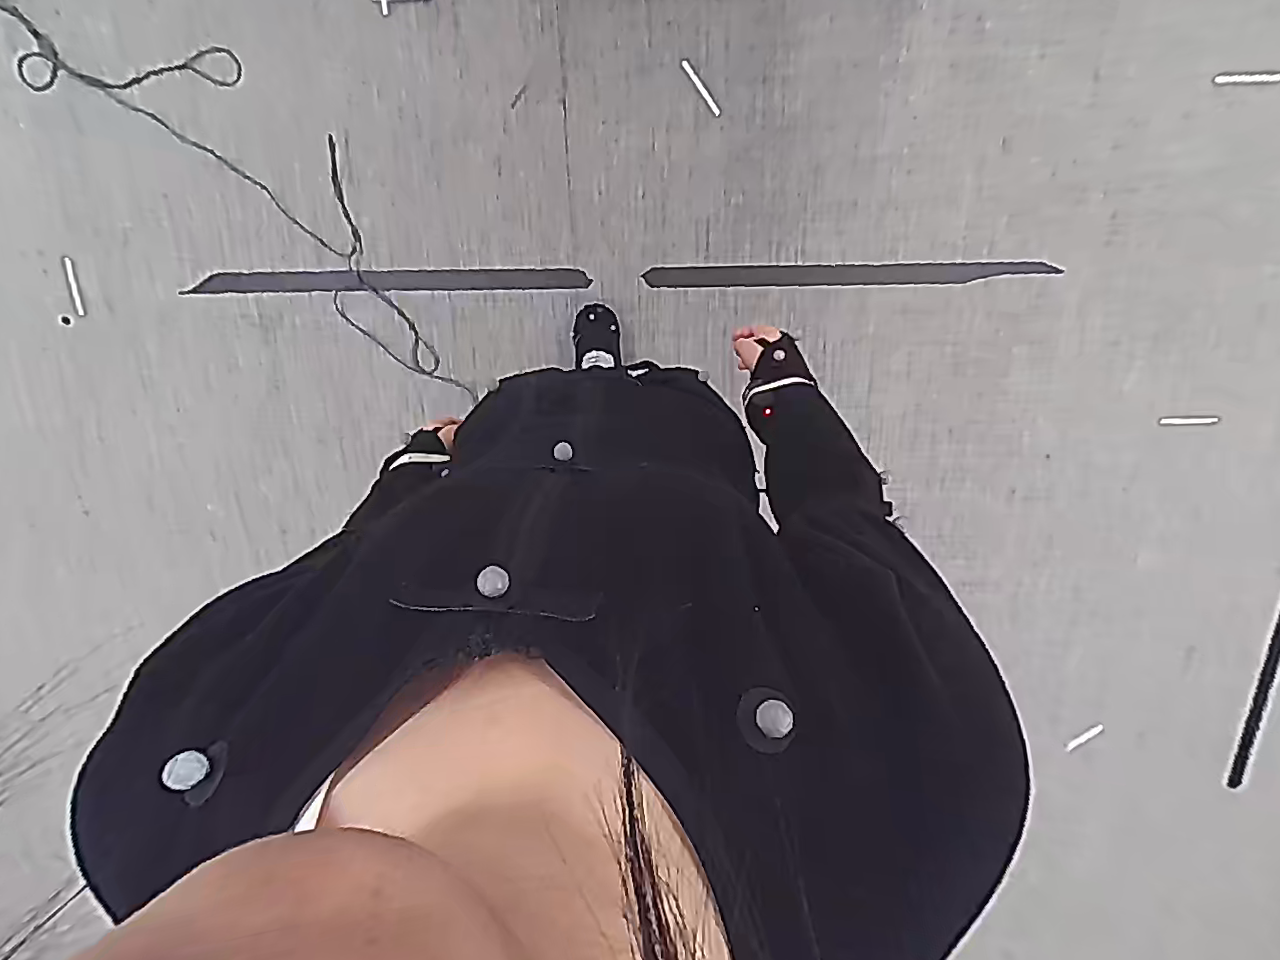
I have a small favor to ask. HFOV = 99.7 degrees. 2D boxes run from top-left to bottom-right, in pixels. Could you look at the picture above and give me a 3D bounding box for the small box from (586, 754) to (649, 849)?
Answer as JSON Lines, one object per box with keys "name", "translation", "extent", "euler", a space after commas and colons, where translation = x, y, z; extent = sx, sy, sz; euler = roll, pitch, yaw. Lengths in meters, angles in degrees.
{"name": "small box", "translation": [-0.064, 0.955, 1.615], "extent": [0.168, 0.176, 0.179], "euler": [-7, 105, 0]}
